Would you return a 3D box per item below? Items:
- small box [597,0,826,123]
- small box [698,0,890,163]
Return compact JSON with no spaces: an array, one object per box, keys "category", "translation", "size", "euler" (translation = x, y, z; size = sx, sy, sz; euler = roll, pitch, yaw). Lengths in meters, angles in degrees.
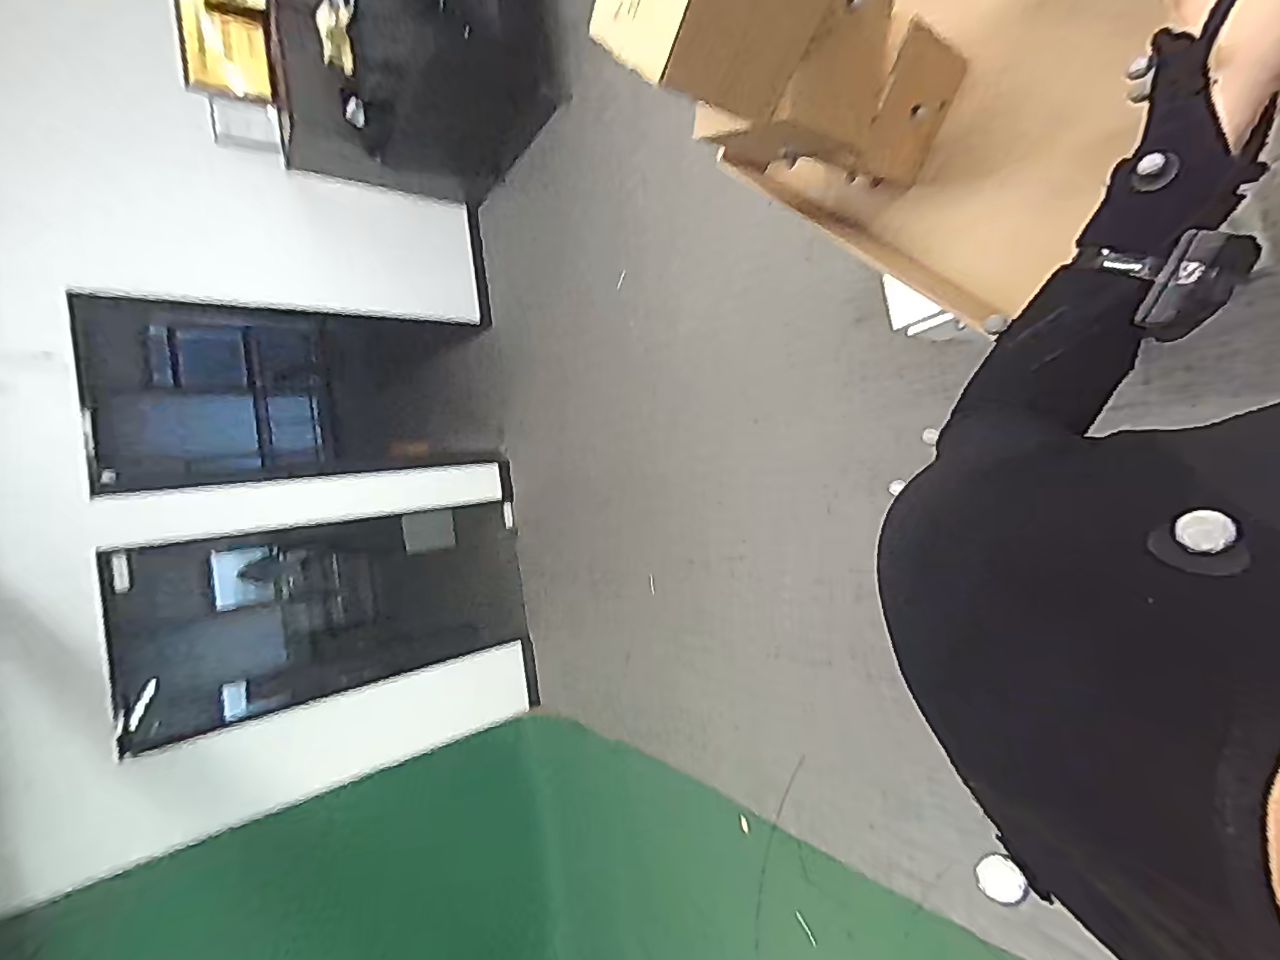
[{"category":"small box","translation":[0.084,-0.536,0.592],"size":[0.168,0.176,0.179],"euler":[58,138,29]},{"category":"small box","translation":[0.200,-0.541,0.712],"size":[0.168,0.176,0.179],"euler":[27,119,48]}]
